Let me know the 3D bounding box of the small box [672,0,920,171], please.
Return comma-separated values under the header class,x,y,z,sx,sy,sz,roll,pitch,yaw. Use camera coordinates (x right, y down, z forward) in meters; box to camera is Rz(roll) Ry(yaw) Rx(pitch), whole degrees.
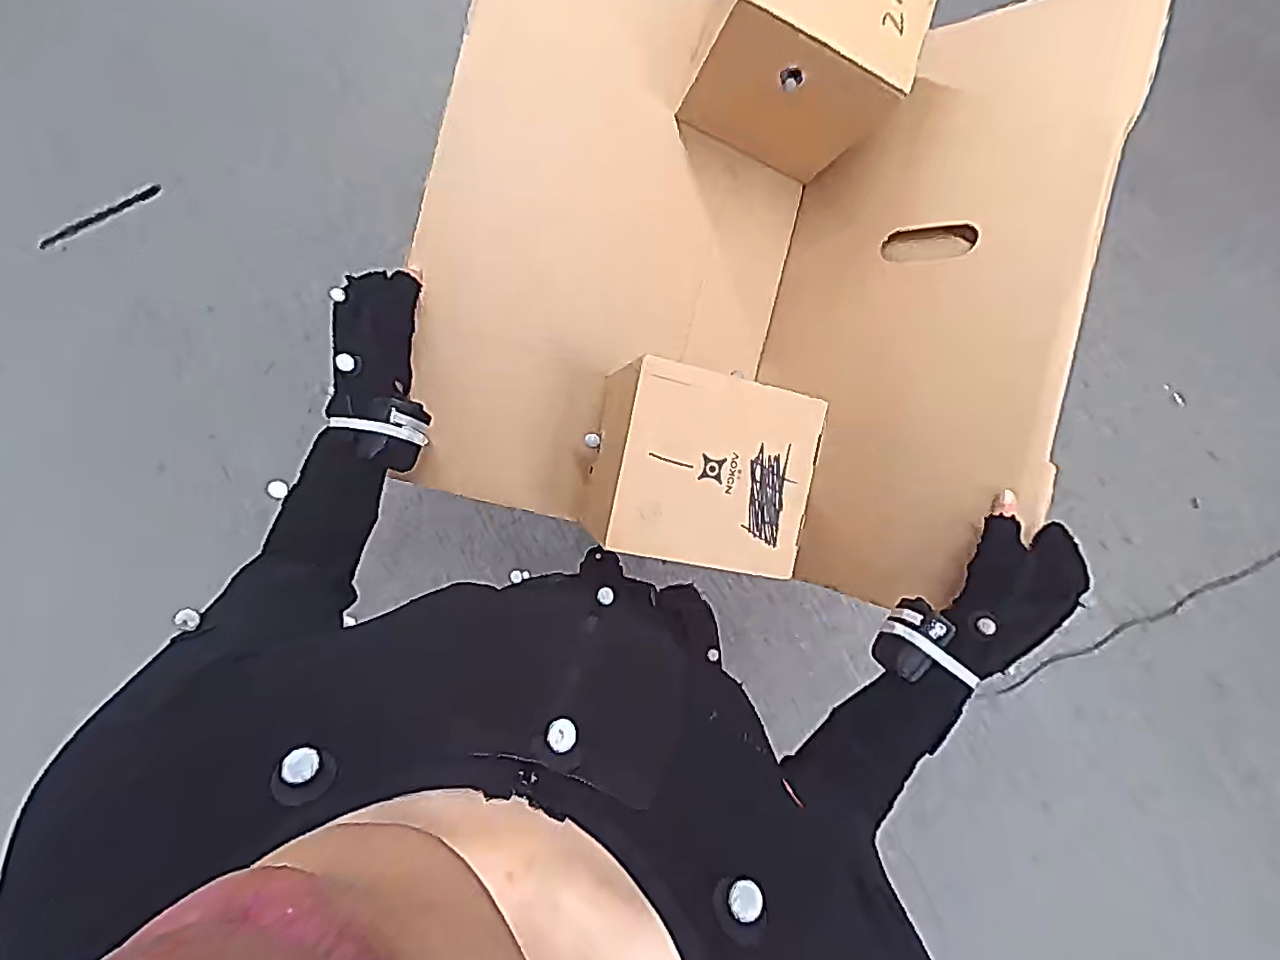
class,x,y,z,sx,sy,sz,roll,pitch,yaw
small box,0.150,-0.452,0.543,0.179,0.176,0.168,17,89,-16
